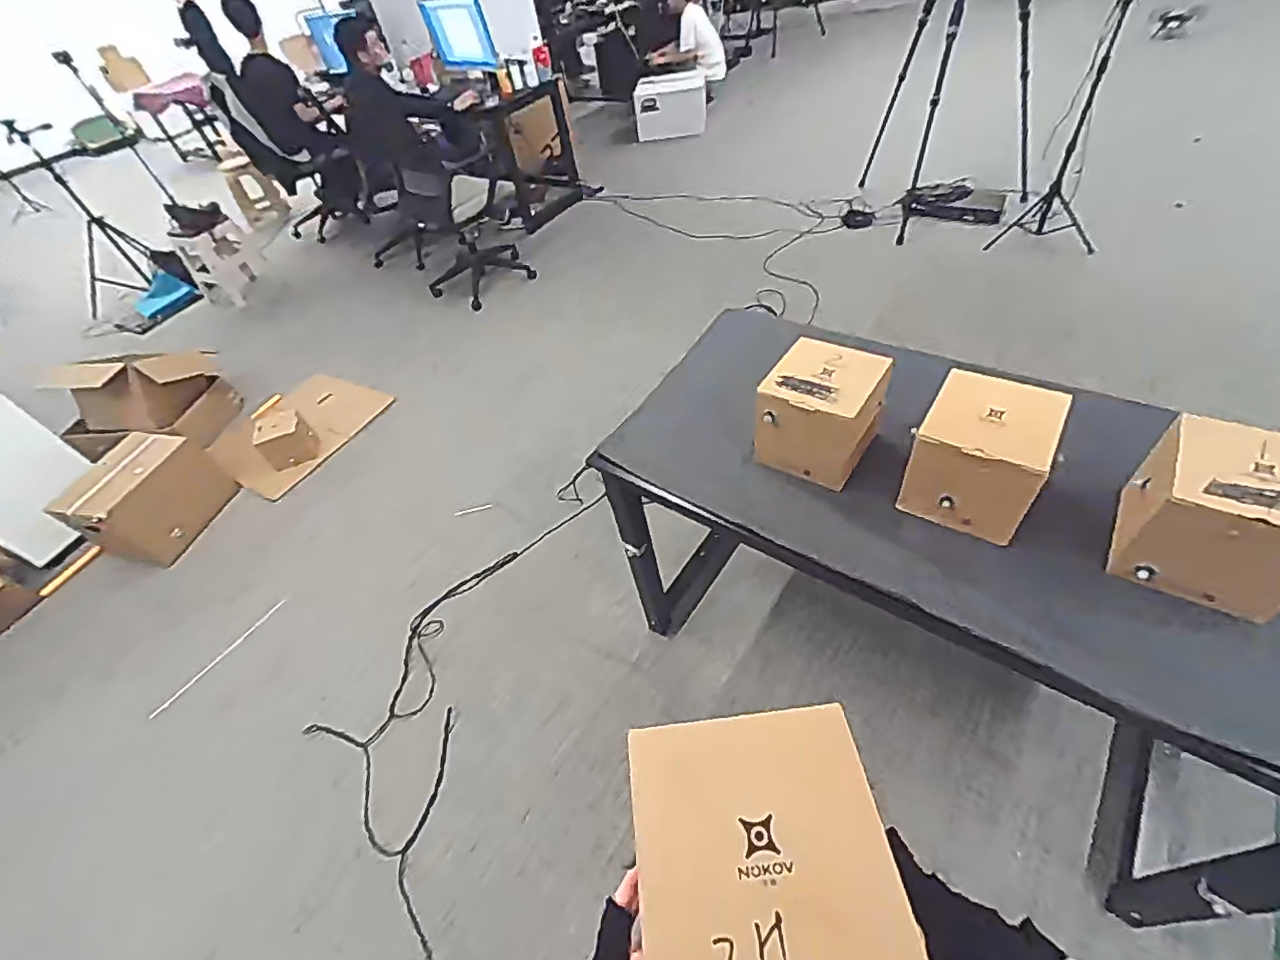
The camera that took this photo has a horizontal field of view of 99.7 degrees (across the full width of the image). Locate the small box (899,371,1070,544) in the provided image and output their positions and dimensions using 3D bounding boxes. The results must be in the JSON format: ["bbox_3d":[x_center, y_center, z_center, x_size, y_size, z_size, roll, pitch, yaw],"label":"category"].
[{"bbox_3d":[0.526,-0.036,0.842,0.168,0.176,0.179,23,57,28],"label":"small box"}]

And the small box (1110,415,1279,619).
[{"bbox_3d":[0.762,0.049,0.711,0.168,0.176,0.179,23,55,29],"label":"small box"}]

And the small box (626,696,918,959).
[{"bbox_3d":[0.082,0.290,0.412,0.168,0.176,0.179,-7,47,2],"label":"small box"}]
